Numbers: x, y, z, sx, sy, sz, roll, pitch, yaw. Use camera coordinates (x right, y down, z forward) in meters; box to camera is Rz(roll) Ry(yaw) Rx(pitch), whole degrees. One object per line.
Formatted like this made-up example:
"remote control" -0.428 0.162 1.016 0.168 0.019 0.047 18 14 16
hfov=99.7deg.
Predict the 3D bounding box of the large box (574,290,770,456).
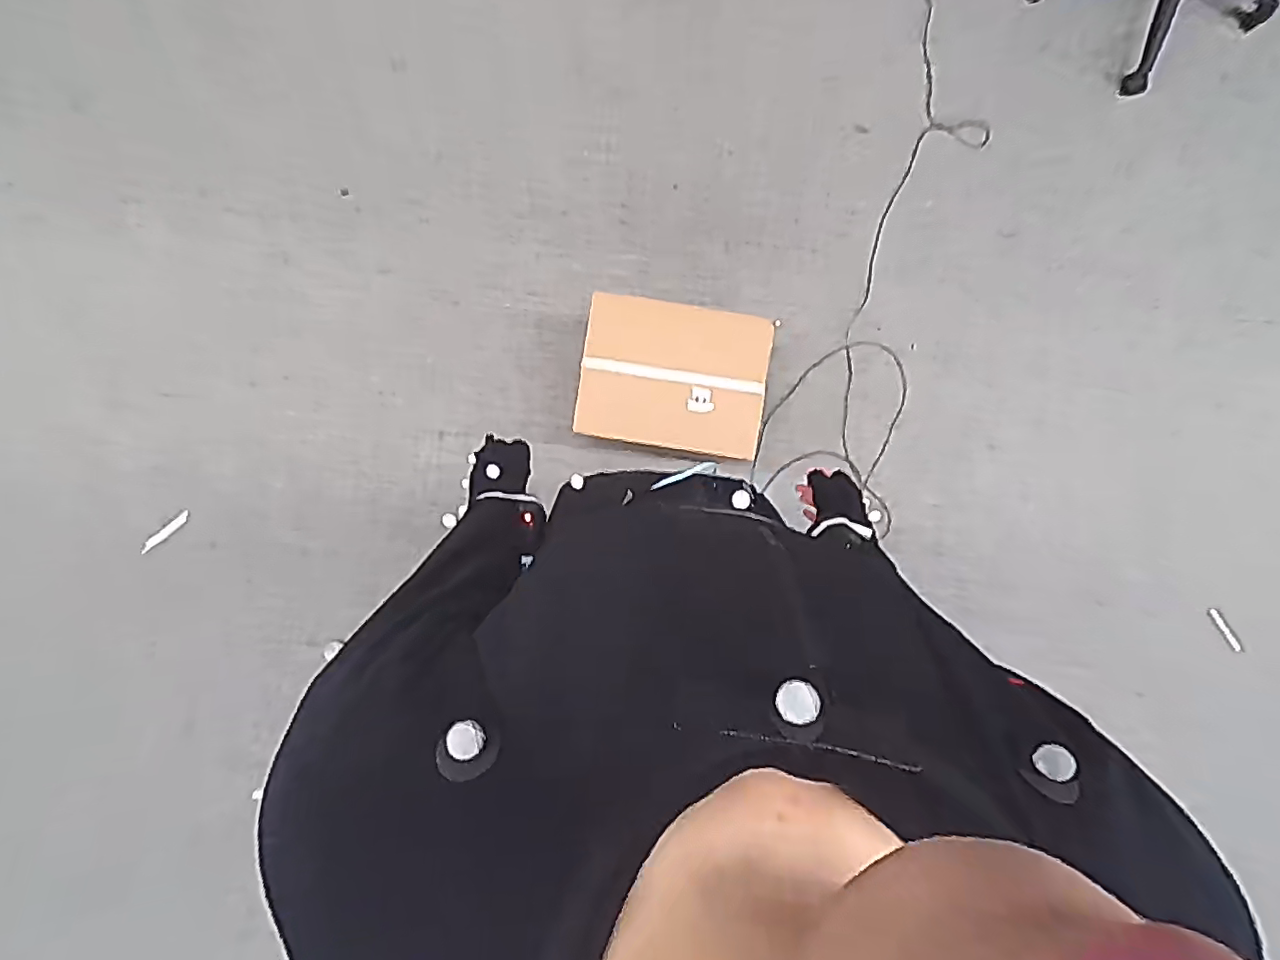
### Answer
"large box" 0.065 -0.241 1.335 0.408 0.320 0.320 9 92 -2
